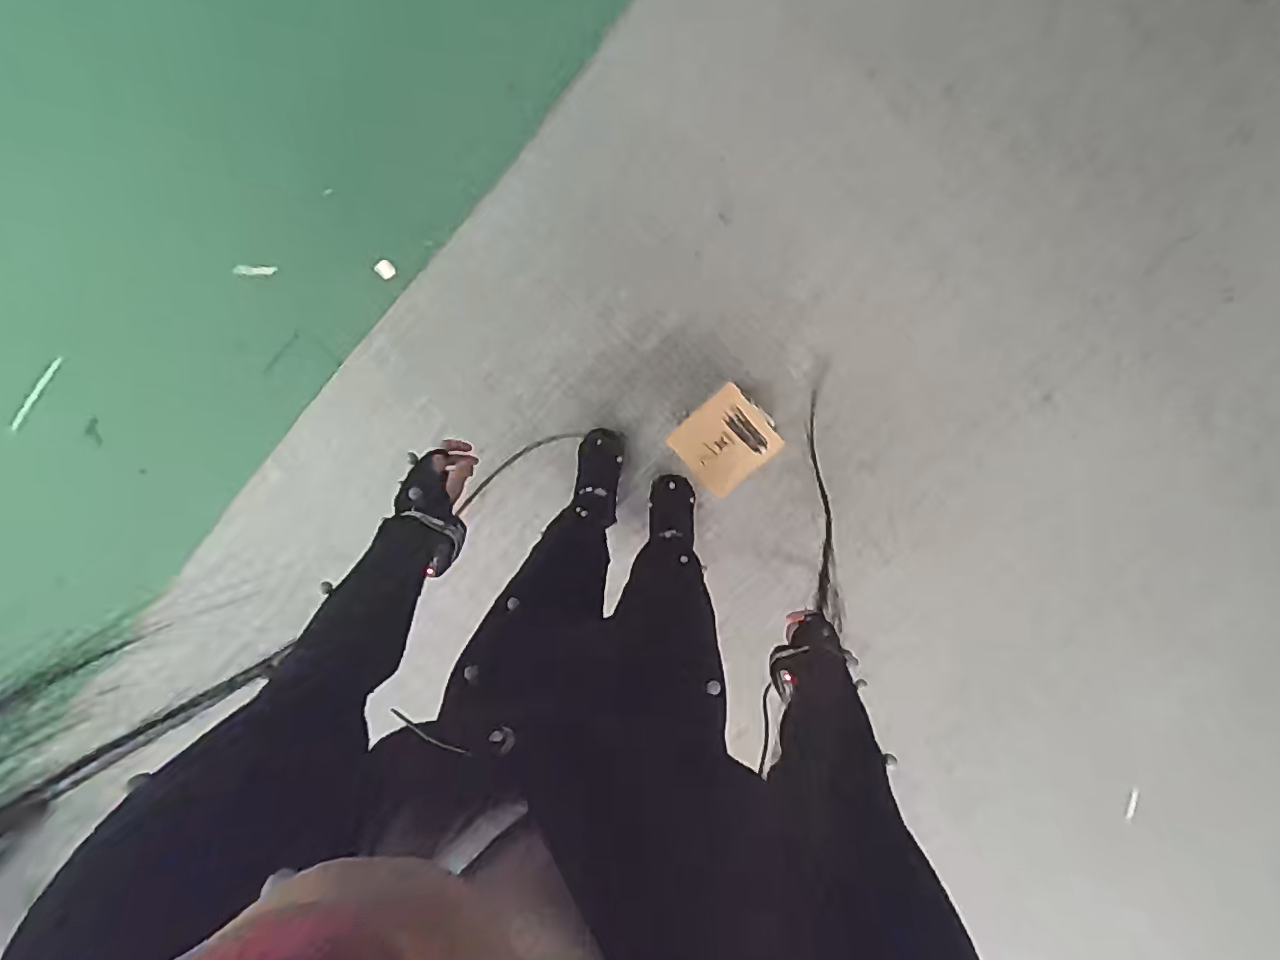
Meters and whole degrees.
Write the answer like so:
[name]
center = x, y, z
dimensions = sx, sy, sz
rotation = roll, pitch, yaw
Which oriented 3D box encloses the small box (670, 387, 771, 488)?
[small box]
center = 0.193, -0.106, 1.305
dimensions = 0.179, 0.176, 0.168
rotation = -37, 93, 11
